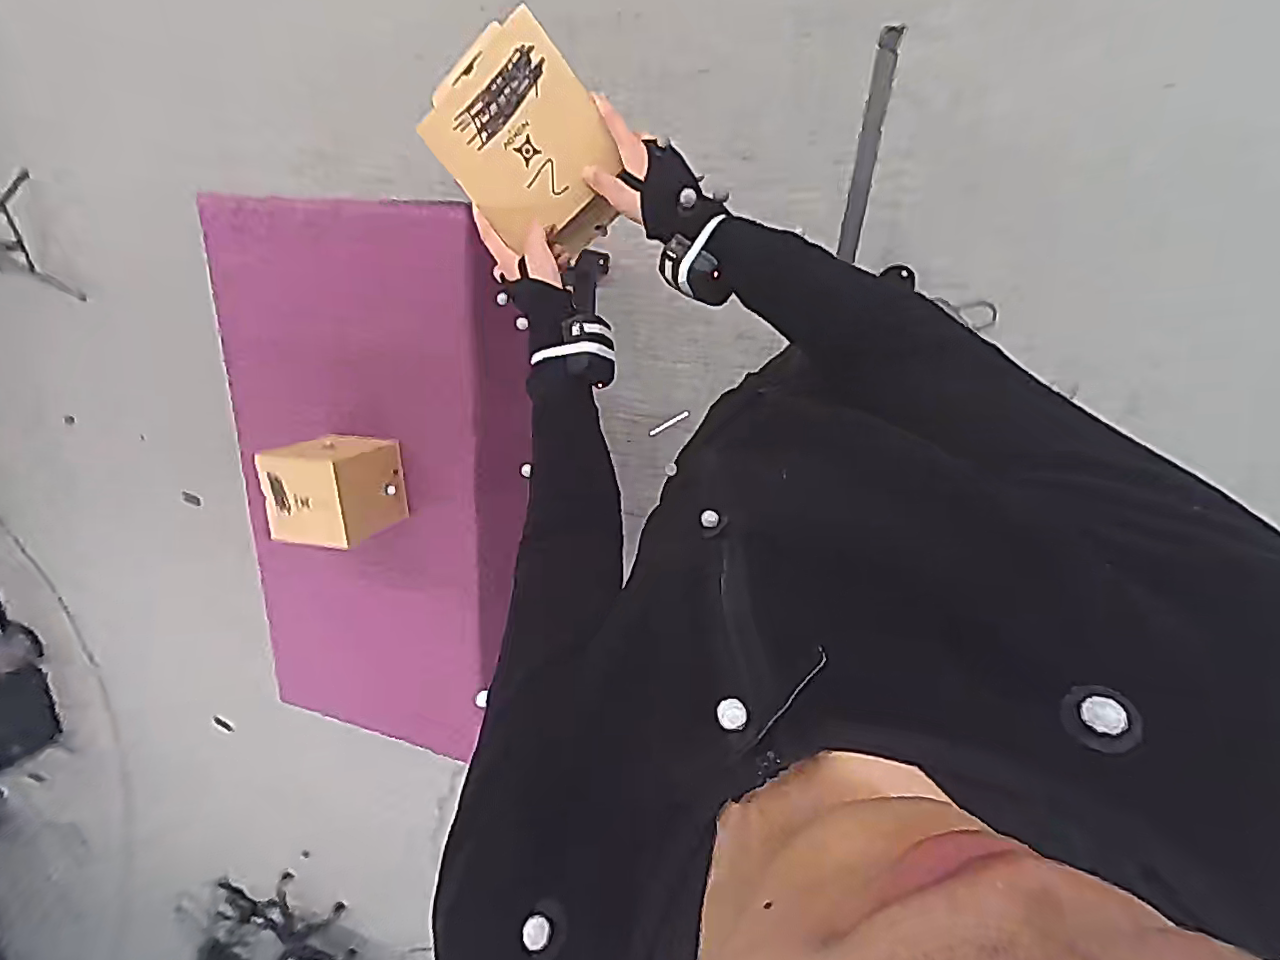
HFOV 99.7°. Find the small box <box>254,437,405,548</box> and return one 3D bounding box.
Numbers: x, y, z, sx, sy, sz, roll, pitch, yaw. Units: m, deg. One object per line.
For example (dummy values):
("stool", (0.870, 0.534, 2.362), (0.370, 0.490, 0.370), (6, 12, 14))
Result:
("small box", (-0.591, 0.016, 1.047), (0.179, 0.176, 0.168), (4, 108, 15))
